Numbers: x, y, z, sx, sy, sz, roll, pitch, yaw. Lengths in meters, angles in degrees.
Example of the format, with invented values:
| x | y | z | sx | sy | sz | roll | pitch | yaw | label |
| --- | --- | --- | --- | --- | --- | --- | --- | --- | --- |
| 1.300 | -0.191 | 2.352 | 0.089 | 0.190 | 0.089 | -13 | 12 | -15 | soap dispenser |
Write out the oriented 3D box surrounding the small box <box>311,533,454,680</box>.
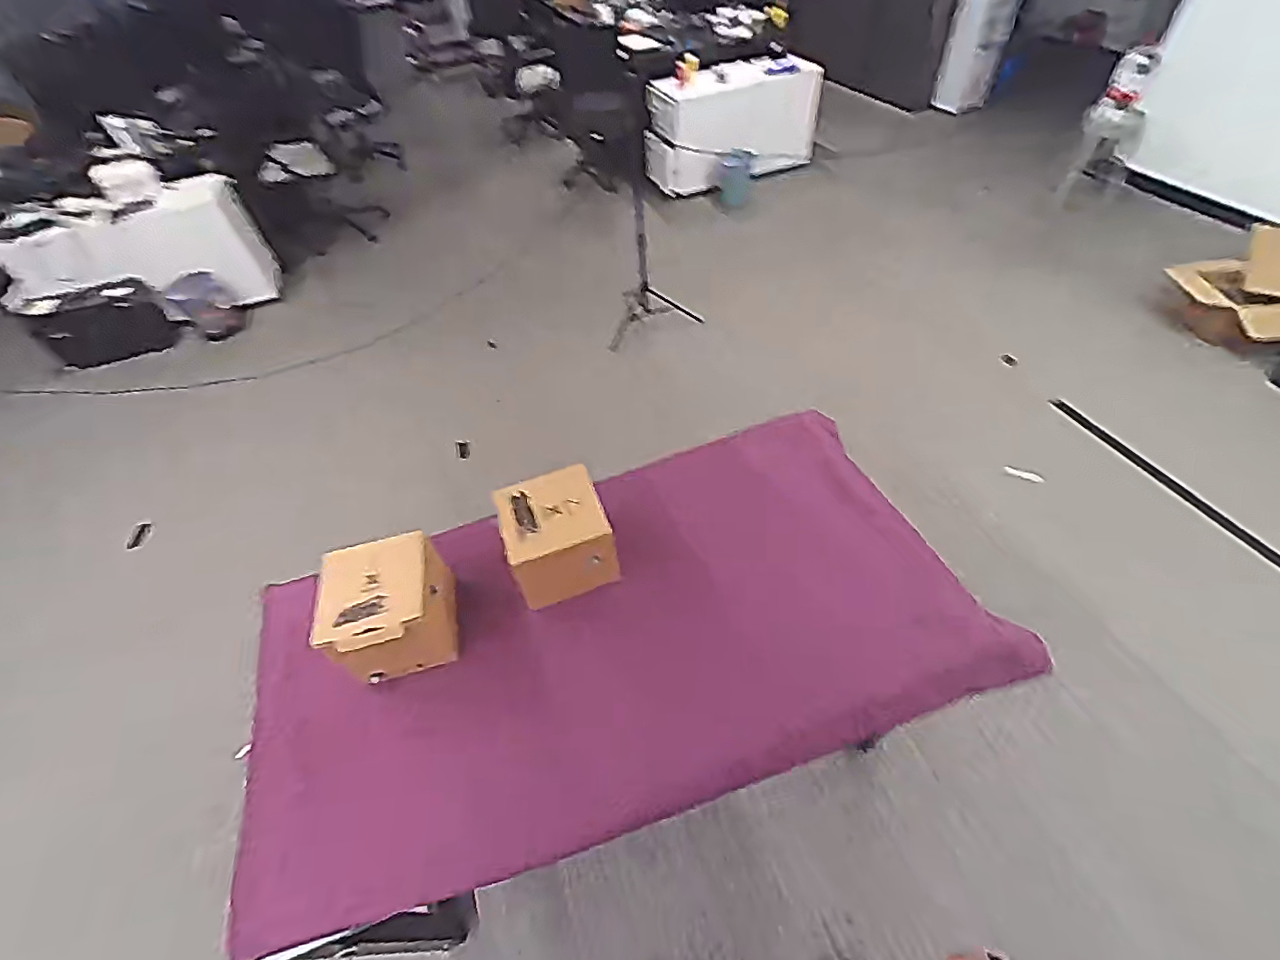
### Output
| x | y | z | sx | sy | sz | roll | pitch | yaw | label |
| --- | --- | --- | --- | --- | --- | --- | --- | --- | --- |
| -0.426 | 0.223 | 0.923 | 0.168 | 0.176 | 0.179 | -14 | 50 | -7 | small box |
